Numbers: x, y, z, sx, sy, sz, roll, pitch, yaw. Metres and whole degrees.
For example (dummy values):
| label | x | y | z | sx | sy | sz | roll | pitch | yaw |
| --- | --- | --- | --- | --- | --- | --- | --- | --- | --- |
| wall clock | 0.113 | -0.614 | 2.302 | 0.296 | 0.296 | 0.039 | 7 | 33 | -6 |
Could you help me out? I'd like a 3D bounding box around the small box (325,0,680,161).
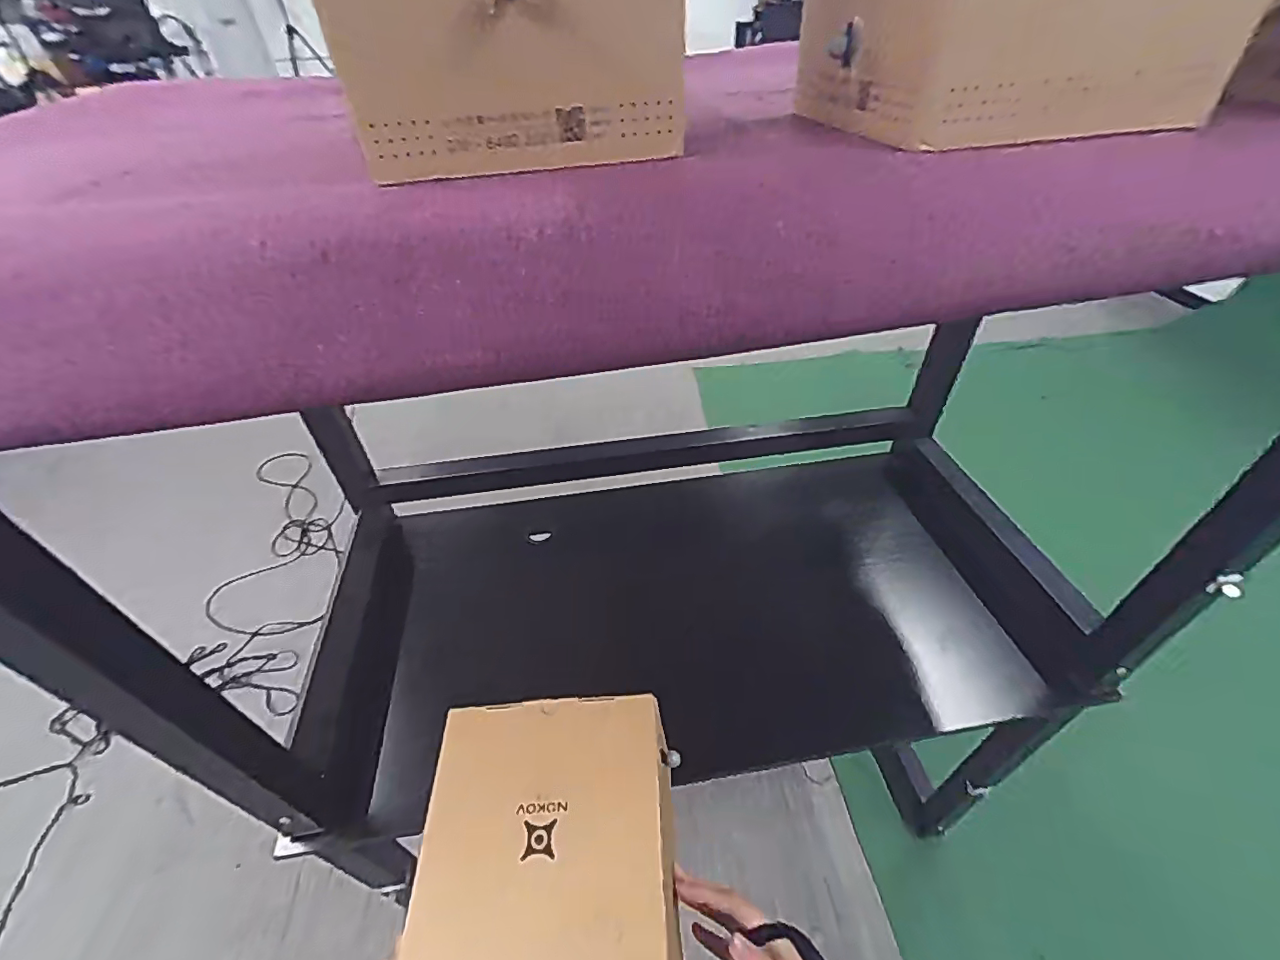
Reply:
| label | x | y | z | sx | sy | sz | roll | pitch | yaw |
| --- | --- | --- | --- | --- | --- | --- | --- | --- | --- |
| small box | -0.075 | -0.283 | 0.292 | 0.168 | 0.176 | 0.179 | -9 | 42 | -8 |
